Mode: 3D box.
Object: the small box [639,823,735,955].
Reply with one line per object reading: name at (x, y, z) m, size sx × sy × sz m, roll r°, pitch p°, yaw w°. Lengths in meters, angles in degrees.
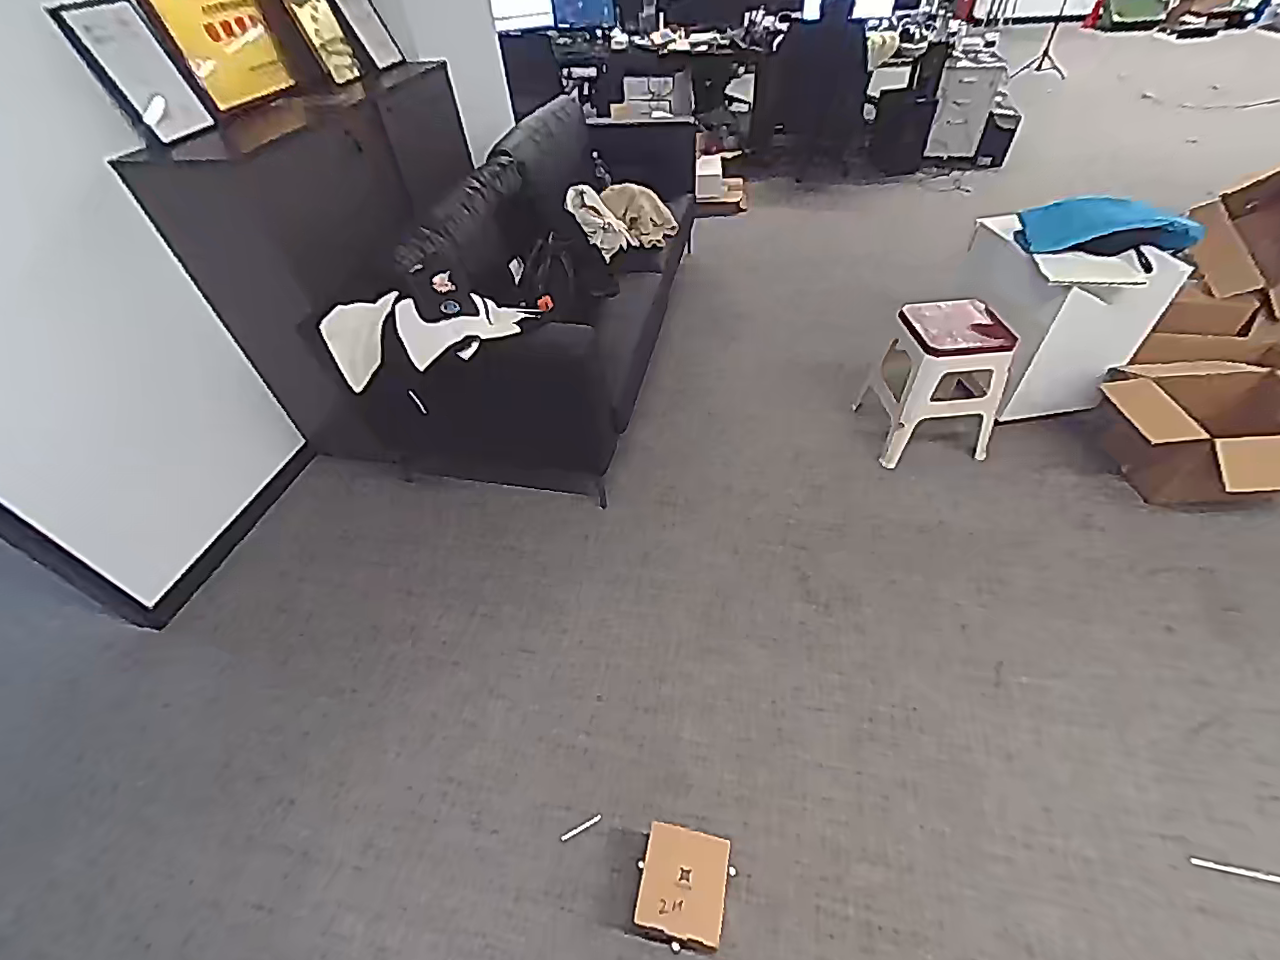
small box at (0.101, 0.843, 1.115) m, size 0.168 × 0.176 × 0.179 m, roll 7°, pitch 48°, yaw 12°
